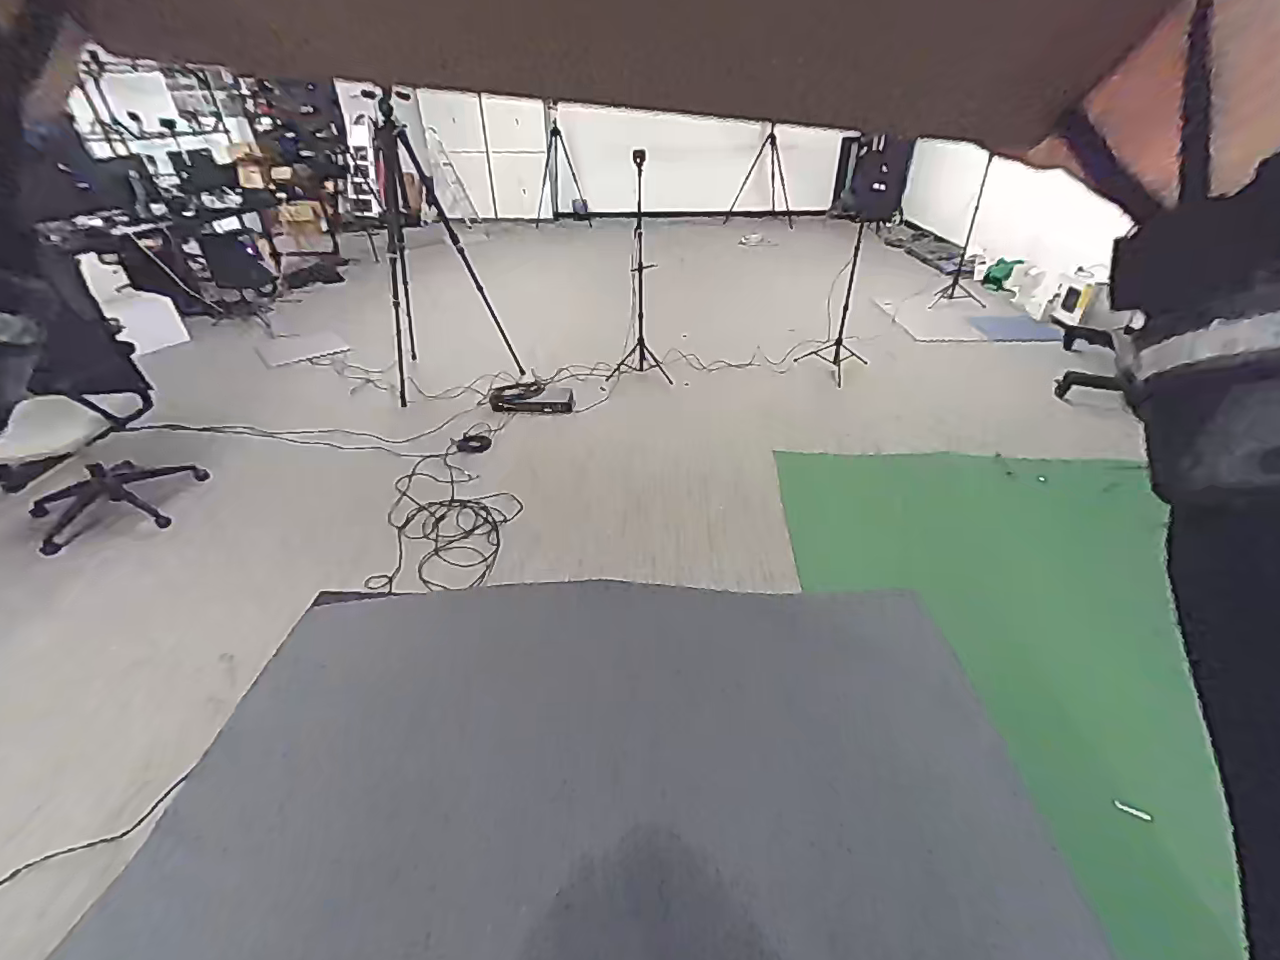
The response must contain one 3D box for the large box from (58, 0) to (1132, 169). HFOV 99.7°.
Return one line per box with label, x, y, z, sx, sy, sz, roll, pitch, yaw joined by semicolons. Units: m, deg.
large box;-0.007;-0.343;0.157;0.408;0.320;0.320;2;73;-5
